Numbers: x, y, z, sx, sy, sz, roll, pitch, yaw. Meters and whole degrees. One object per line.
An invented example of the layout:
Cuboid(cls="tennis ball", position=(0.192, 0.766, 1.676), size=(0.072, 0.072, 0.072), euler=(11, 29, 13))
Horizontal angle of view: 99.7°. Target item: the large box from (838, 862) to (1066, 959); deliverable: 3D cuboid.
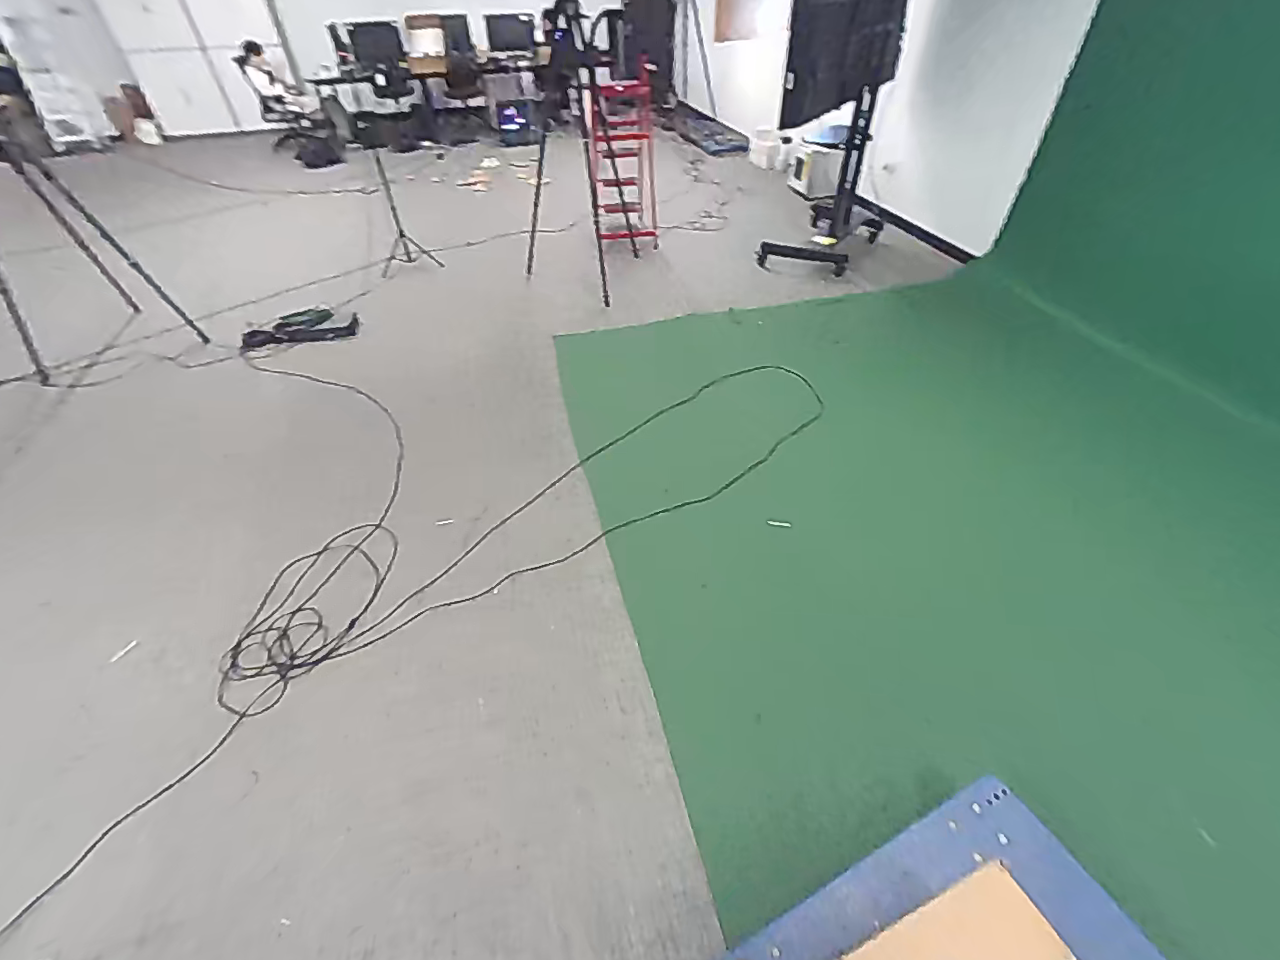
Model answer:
Cuboid(cls="large box", position=(0.505, 0.940, 0.901), size=(0.408, 0.320, 0.320), euler=(-17, 45, -17))
